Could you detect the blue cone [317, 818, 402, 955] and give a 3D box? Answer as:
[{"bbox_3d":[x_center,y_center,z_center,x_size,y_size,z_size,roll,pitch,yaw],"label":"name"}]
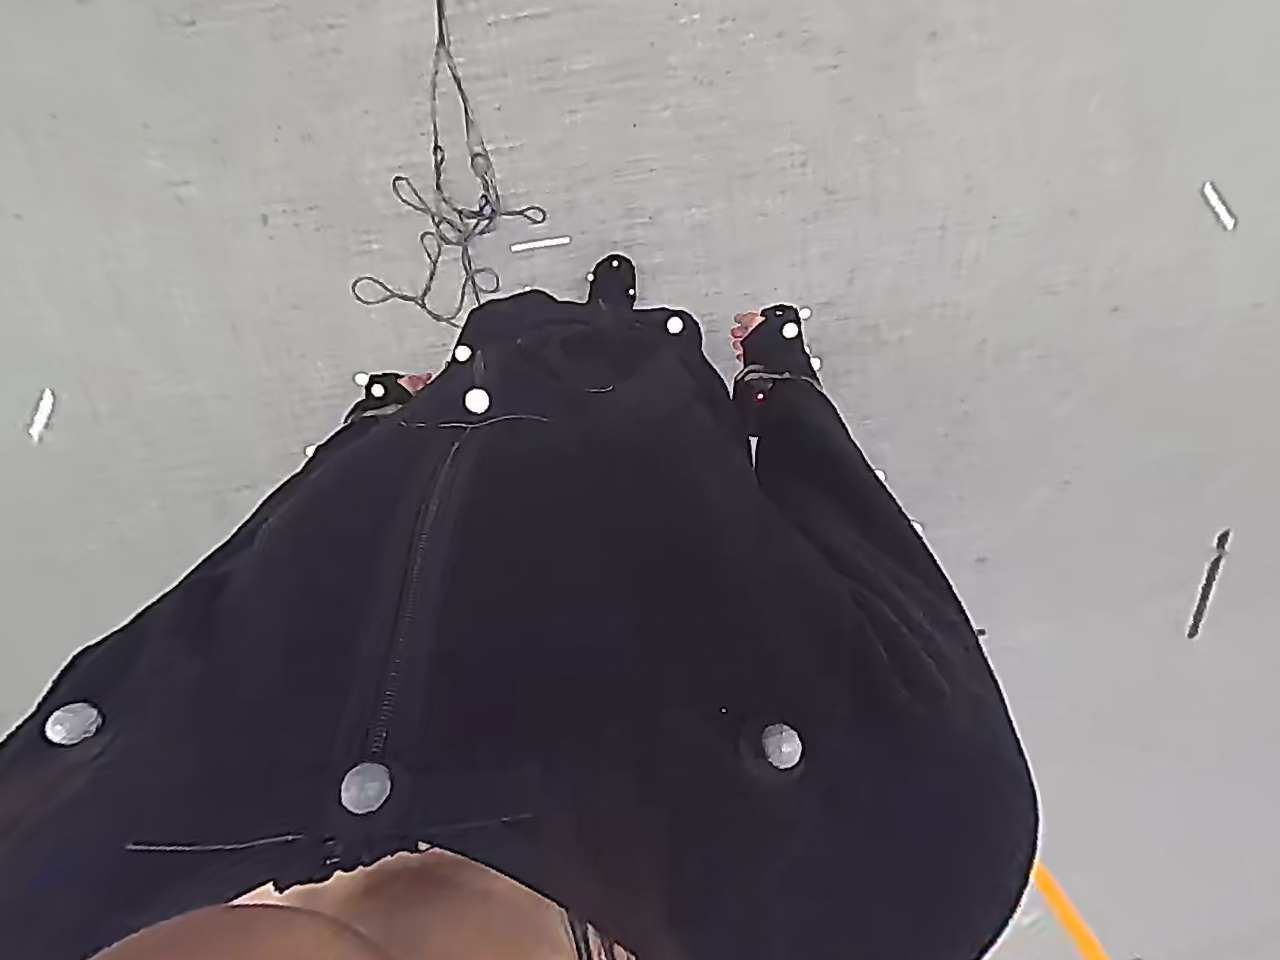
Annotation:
[{"bbox_3d":[-0.954,1.347,1.787,0.193,0.380,0.192,-6,111,-1],"label":"blue cone"}]
